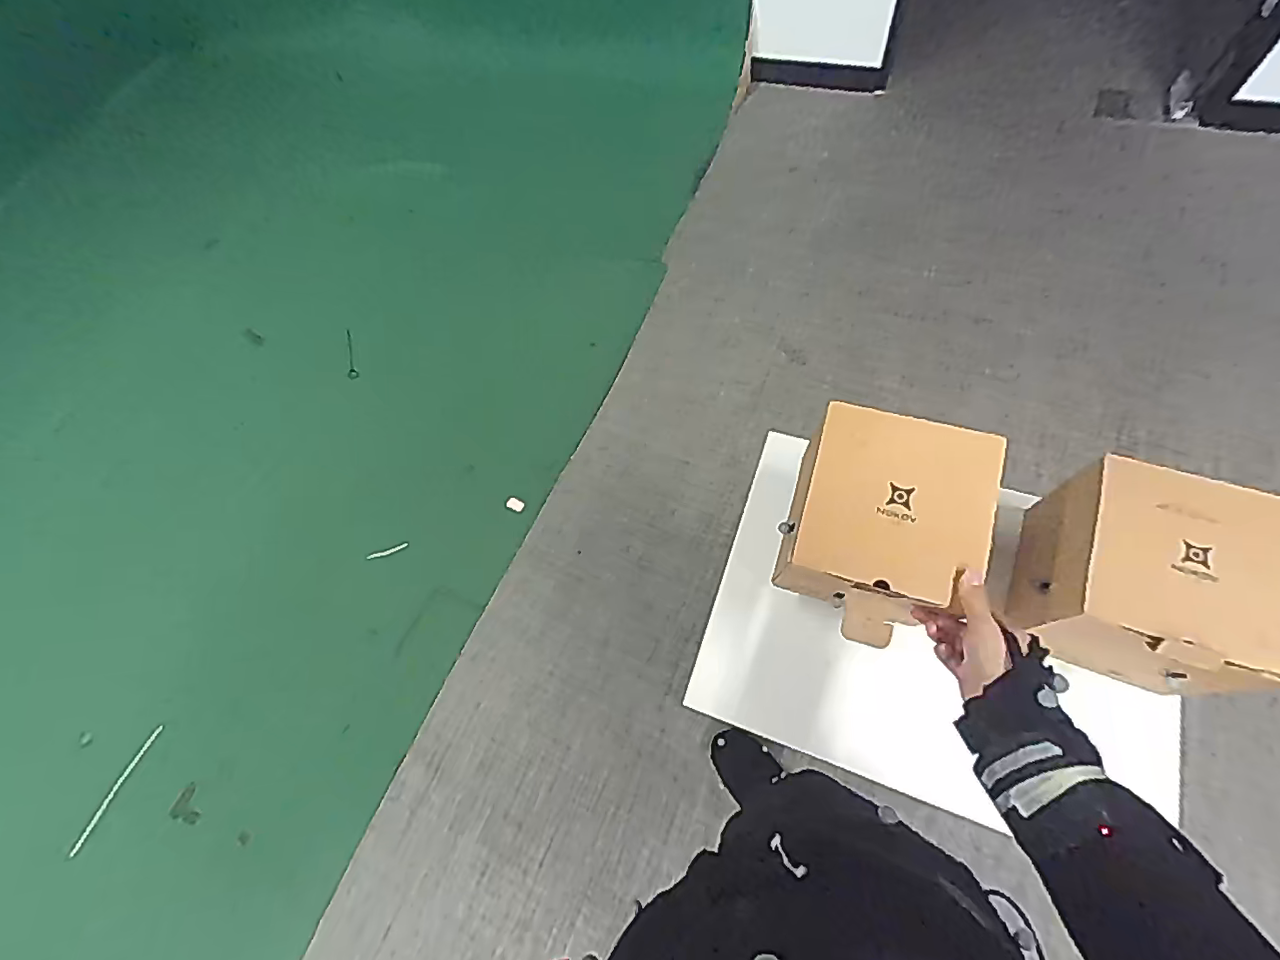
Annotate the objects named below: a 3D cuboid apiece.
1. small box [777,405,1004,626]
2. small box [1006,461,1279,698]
[{"bbox_3d":[0.252,0.047,0.583,0.168,0.176,0.179,15,76,12],"label":"small box"},{"bbox_3d":[0.515,0.111,0.562,0.168,0.176,0.179,19,70,16],"label":"small box"}]
